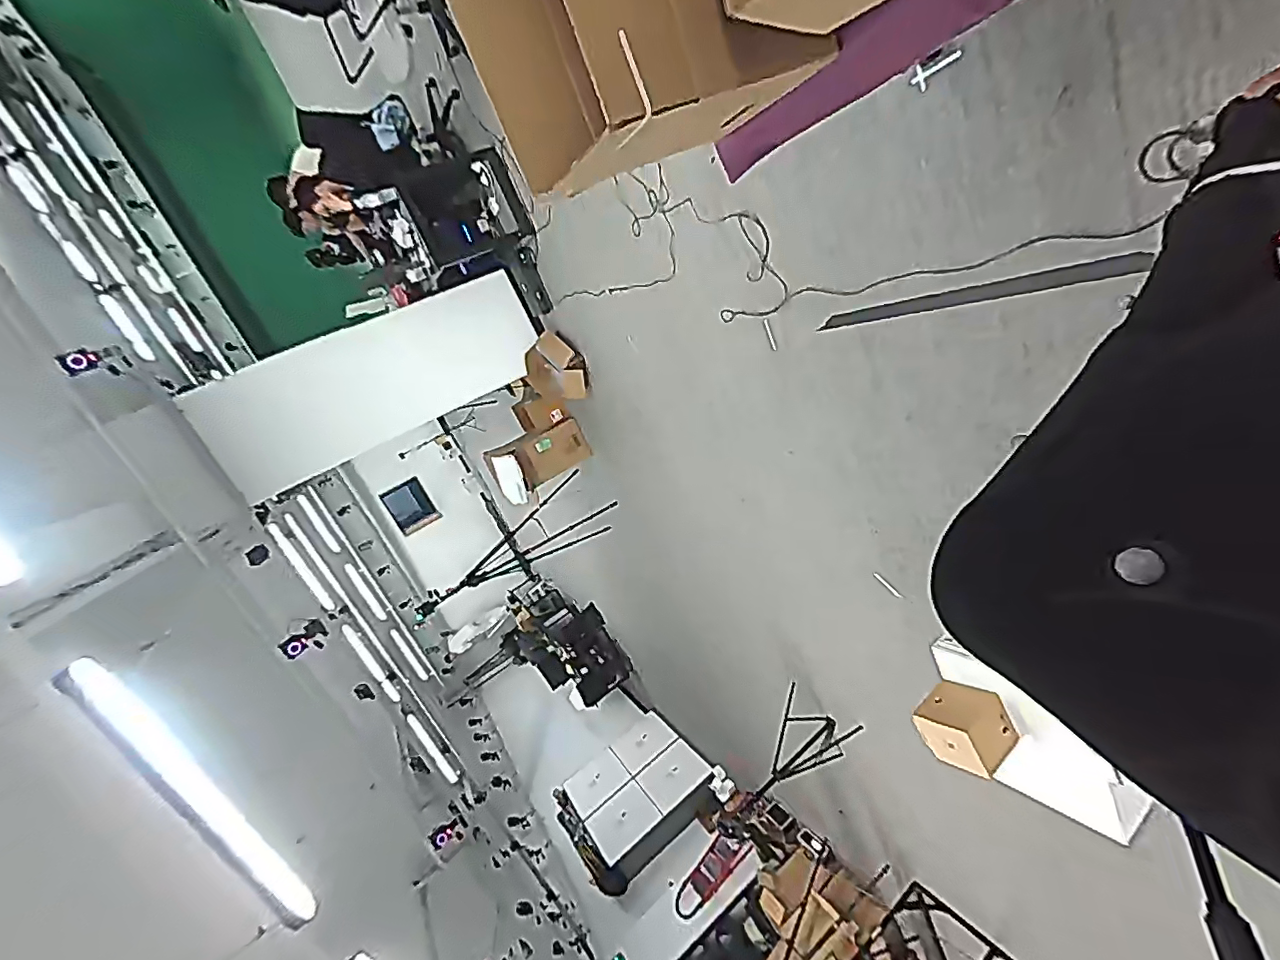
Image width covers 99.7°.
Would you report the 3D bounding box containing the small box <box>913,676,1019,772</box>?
[{"bbox_3d":[0.950,0.700,1.577,0.168,0.176,0.179,60,157,-7],"label":"small box"}]
